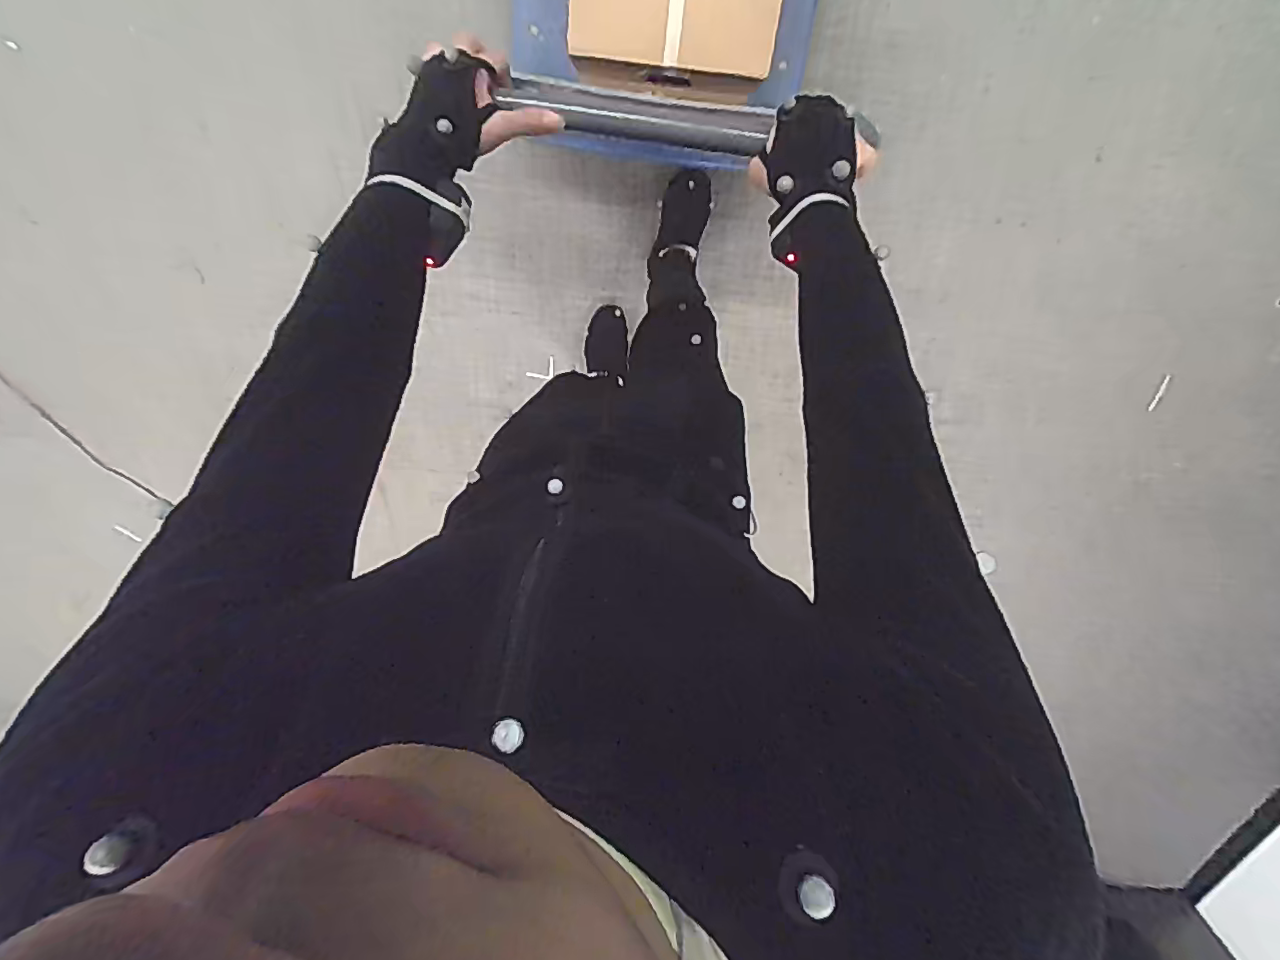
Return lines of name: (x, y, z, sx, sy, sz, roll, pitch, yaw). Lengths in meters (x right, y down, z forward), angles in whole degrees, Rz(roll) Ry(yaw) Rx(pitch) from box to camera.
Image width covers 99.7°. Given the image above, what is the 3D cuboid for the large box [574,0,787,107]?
large box: (0.076, -0.879, 0.874, 0.320, 0.320, 0.408, 6, 116, -2)
